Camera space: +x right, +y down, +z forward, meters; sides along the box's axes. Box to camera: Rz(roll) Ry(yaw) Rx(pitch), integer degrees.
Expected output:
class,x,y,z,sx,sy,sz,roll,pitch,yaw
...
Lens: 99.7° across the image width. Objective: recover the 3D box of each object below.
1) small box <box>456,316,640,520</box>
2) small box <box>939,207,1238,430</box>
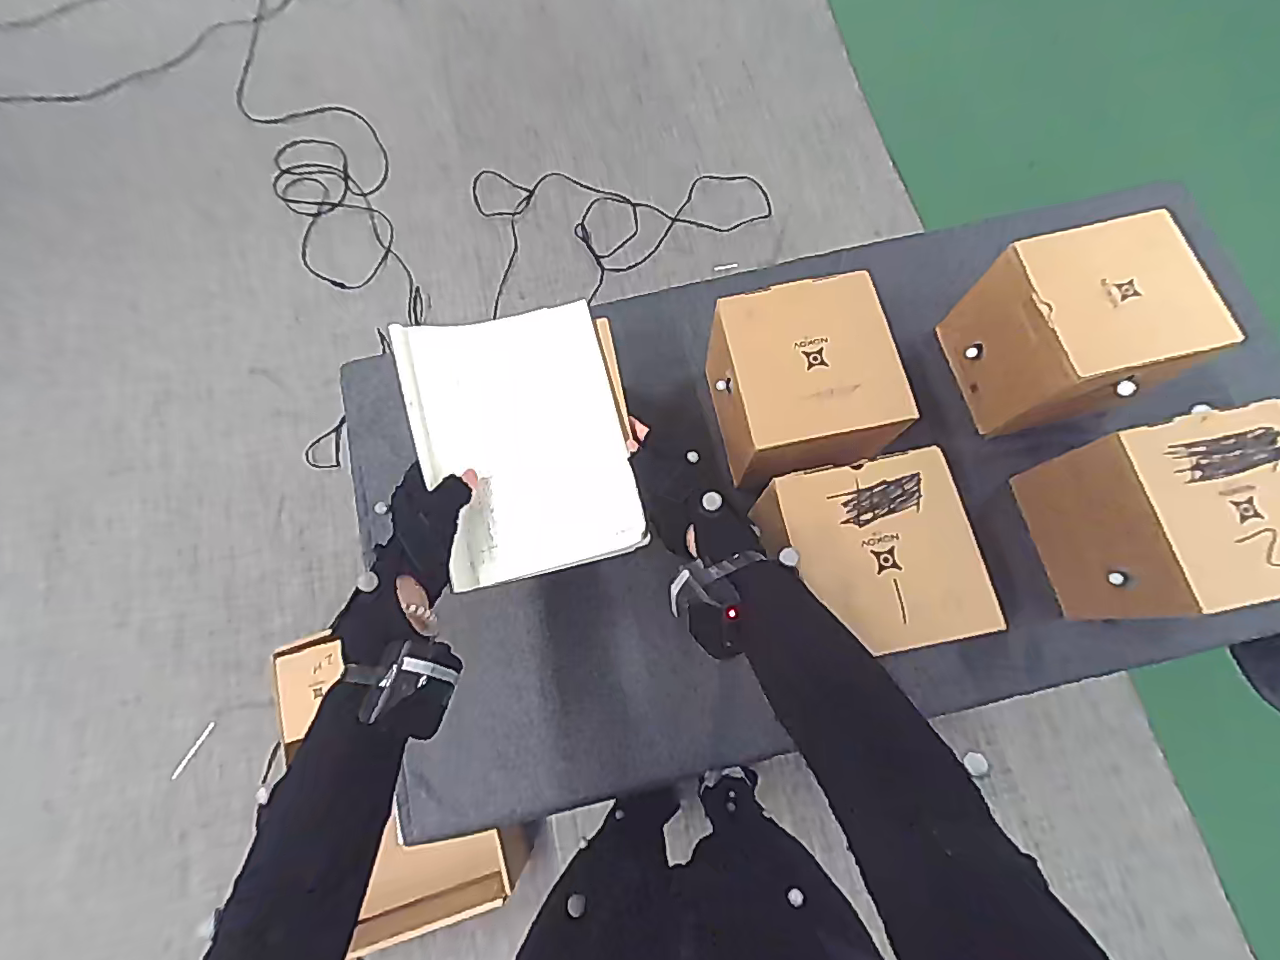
class,x,y,z,sx,sy,sz,roll,pitch,yaw
small box,-0.095,-0.057,0.623,0.168,0.176,0.179,-11,75,-1
small box,0.496,-0.175,0.631,0.179,0.176,0.168,-14,74,0
